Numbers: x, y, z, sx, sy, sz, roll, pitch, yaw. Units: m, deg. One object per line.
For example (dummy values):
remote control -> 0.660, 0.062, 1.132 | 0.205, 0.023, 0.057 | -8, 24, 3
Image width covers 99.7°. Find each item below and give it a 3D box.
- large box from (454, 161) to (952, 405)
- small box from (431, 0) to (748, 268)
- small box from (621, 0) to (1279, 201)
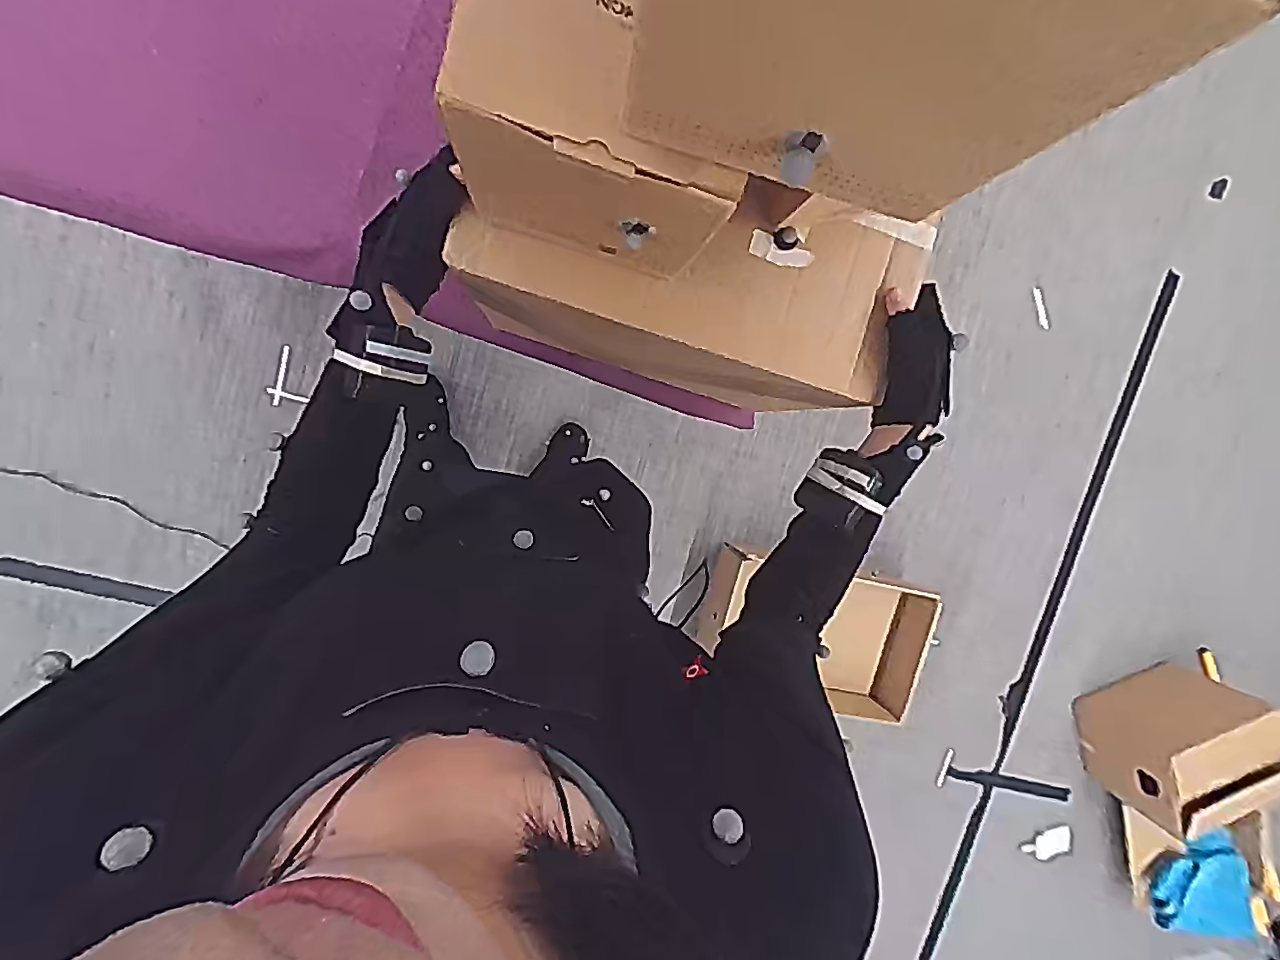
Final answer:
large box -> 0.052, -0.285, 0.600 | 0.408, 0.320, 0.320 | 15, 95, -10
small box -> -0.015, -0.260, 0.347 | 0.168, 0.176, 0.179 | 14, 93, -11
small box -> 0.100, -0.231, 0.199 | 0.179, 0.176, 0.168 | 13, 95, -8
